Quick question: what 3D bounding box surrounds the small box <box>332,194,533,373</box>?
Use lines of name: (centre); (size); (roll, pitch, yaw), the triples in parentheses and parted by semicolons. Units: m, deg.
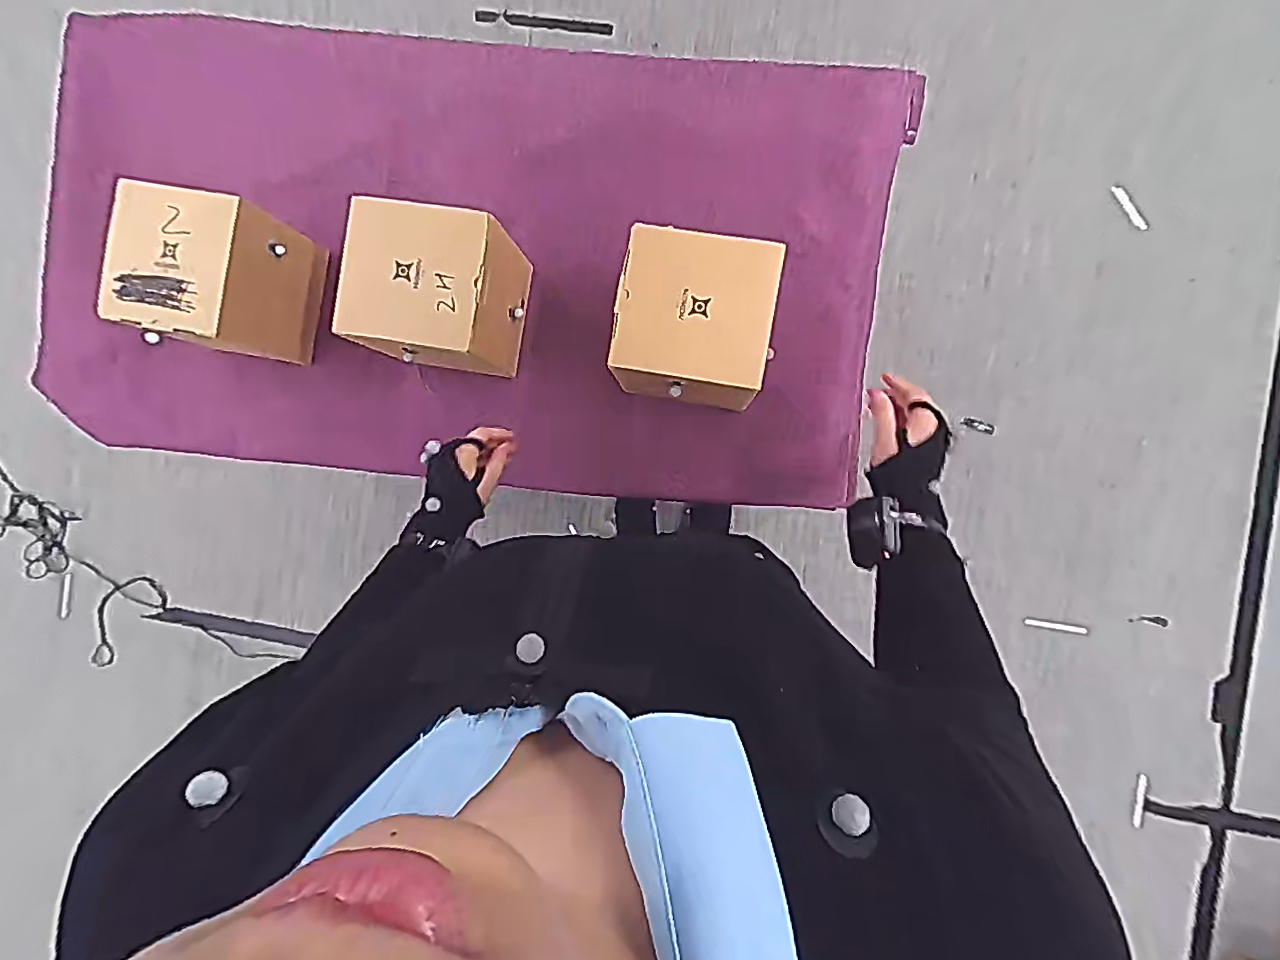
small box: (-0.259, -0.244, 0.709); (0.179, 0.176, 0.168); (10, 92, 5)

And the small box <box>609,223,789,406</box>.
small box: (0.072, -0.194, 0.680); (0.179, 0.176, 0.168); (10, 90, 6)
